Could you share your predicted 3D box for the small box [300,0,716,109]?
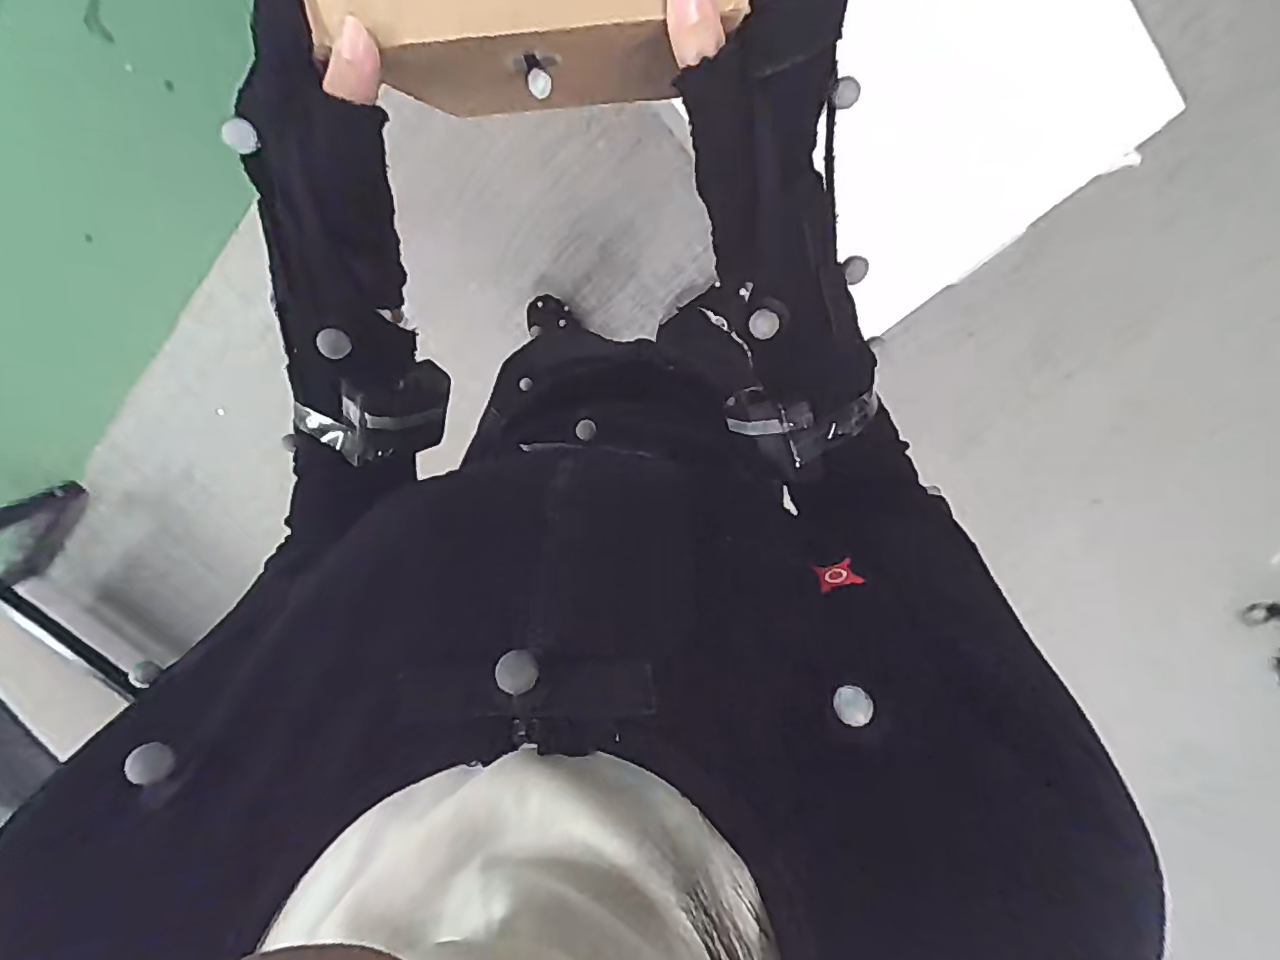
[{"bbox_3d":[-0.053,-0.292,0.254,0.179,0.176,0.168,-4,116,5],"label":"small box"}]
